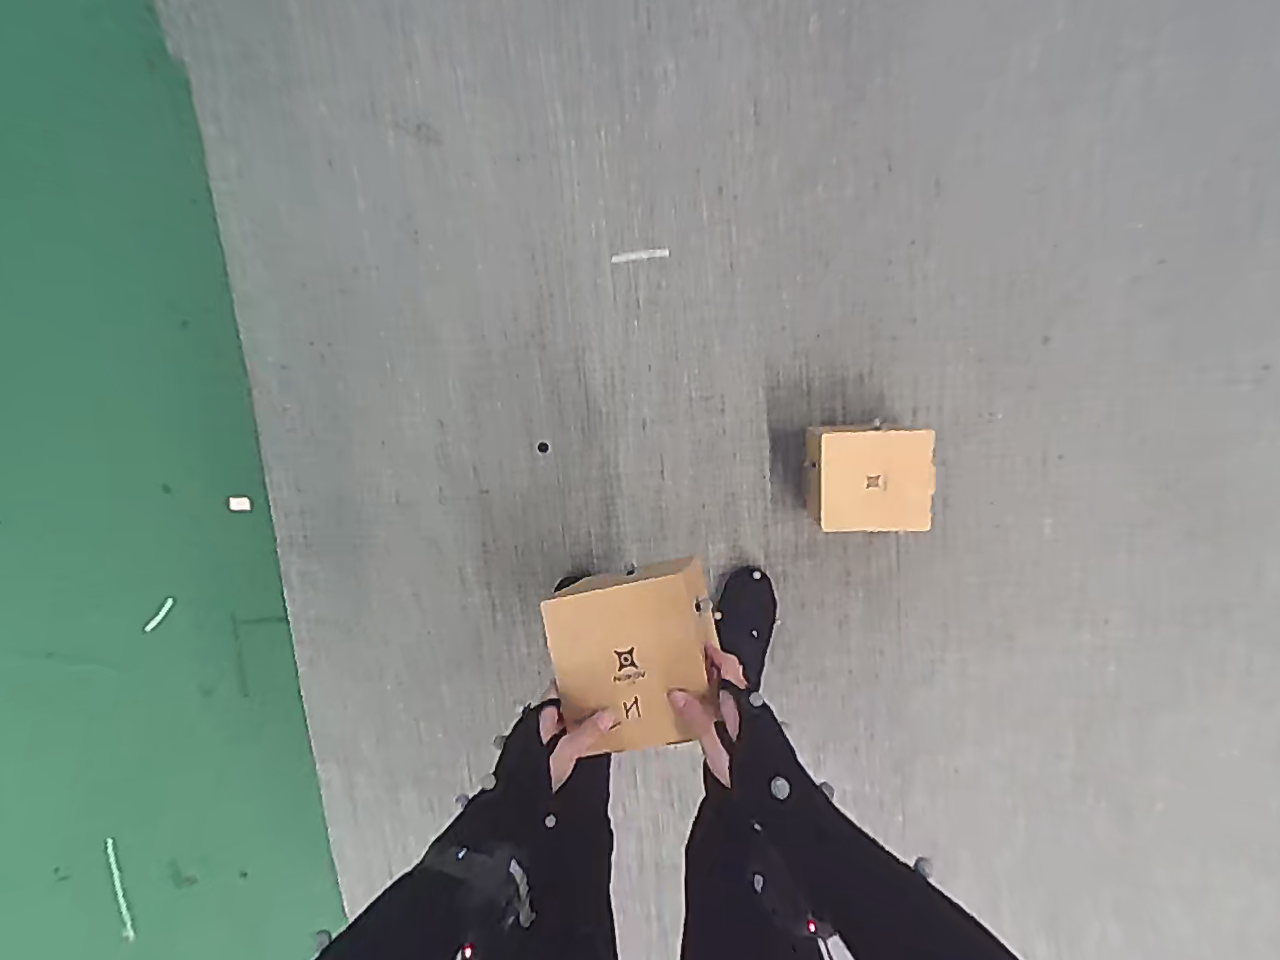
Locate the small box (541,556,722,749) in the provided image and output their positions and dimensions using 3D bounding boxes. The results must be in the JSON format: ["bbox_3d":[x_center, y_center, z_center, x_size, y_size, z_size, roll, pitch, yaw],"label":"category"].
[{"bbox_3d":[0.000,0.193,0.654,0.168,0.176,0.179,-13,86,11],"label":"small box"}]

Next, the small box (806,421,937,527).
[{"bbox_3d":[0.388,-0.016,0.935,0.179,0.176,0.168,-2,98,7],"label":"small box"}]
